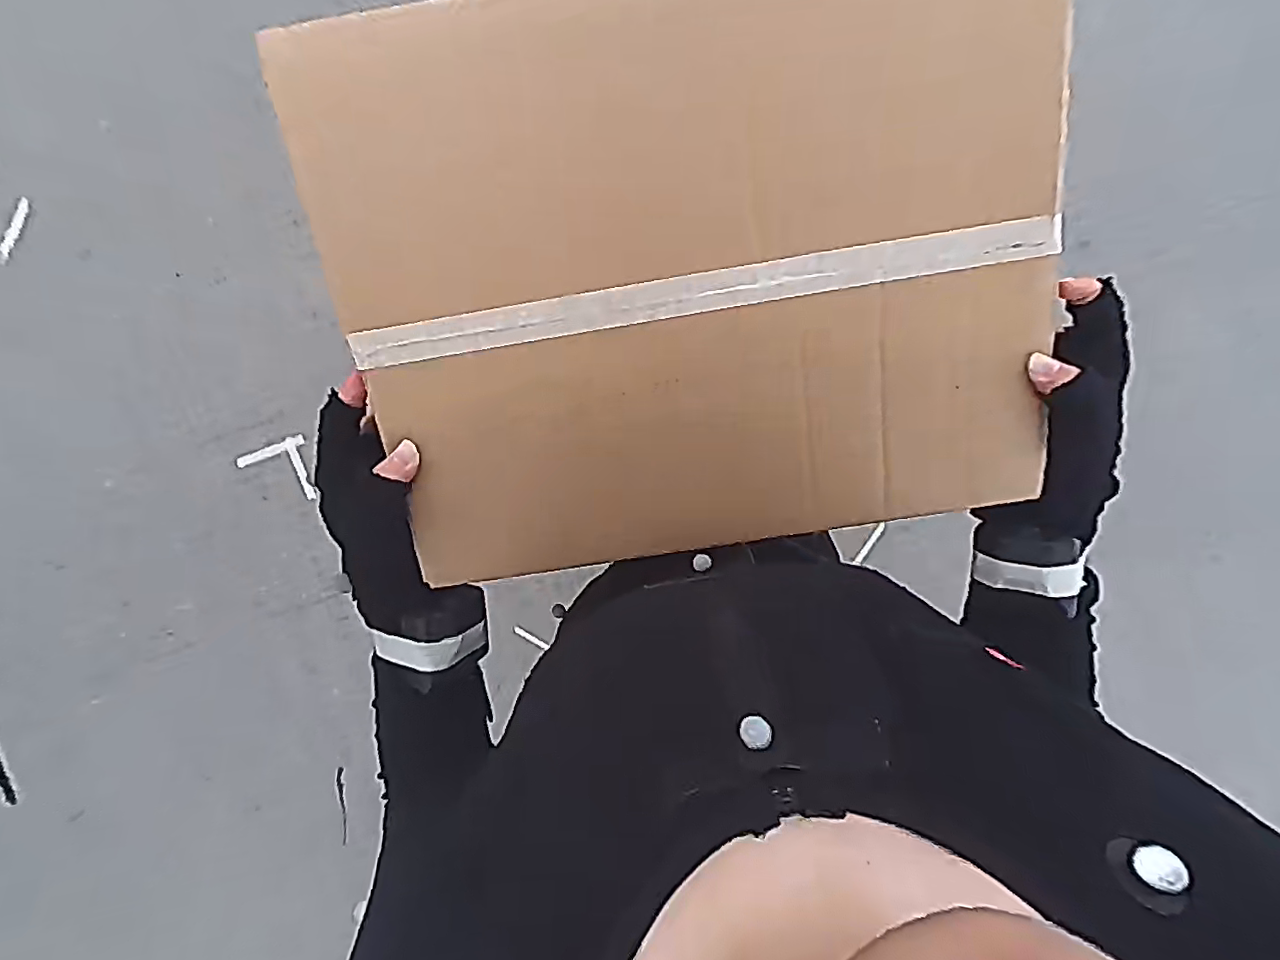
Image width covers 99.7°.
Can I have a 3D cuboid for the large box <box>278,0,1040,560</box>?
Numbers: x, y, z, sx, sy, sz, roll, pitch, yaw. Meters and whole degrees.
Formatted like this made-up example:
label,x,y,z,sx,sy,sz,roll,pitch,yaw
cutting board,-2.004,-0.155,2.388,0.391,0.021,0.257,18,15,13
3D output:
label,x,y,z,sx,sy,sz,roll,pitch,yaw
large box,0.024,-0.164,0.459,0.408,0.320,0.320,-9,108,1
